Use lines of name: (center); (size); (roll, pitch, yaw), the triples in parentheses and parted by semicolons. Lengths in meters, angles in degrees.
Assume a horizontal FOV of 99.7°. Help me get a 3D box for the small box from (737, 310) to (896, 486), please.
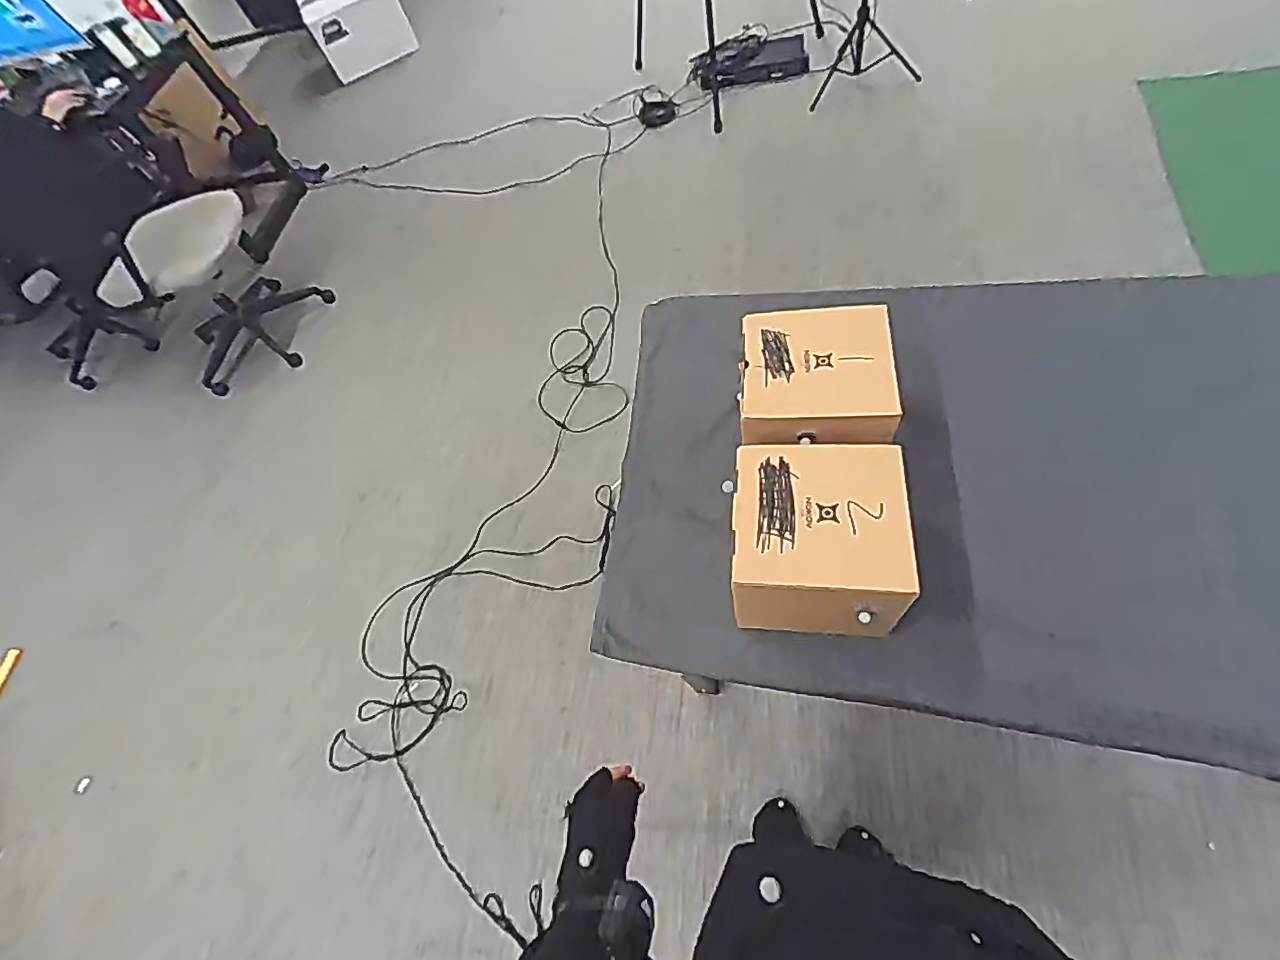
small box: (0.225, -0.100, 0.718); (0.179, 0.176, 0.168); (0, 62, 13)
